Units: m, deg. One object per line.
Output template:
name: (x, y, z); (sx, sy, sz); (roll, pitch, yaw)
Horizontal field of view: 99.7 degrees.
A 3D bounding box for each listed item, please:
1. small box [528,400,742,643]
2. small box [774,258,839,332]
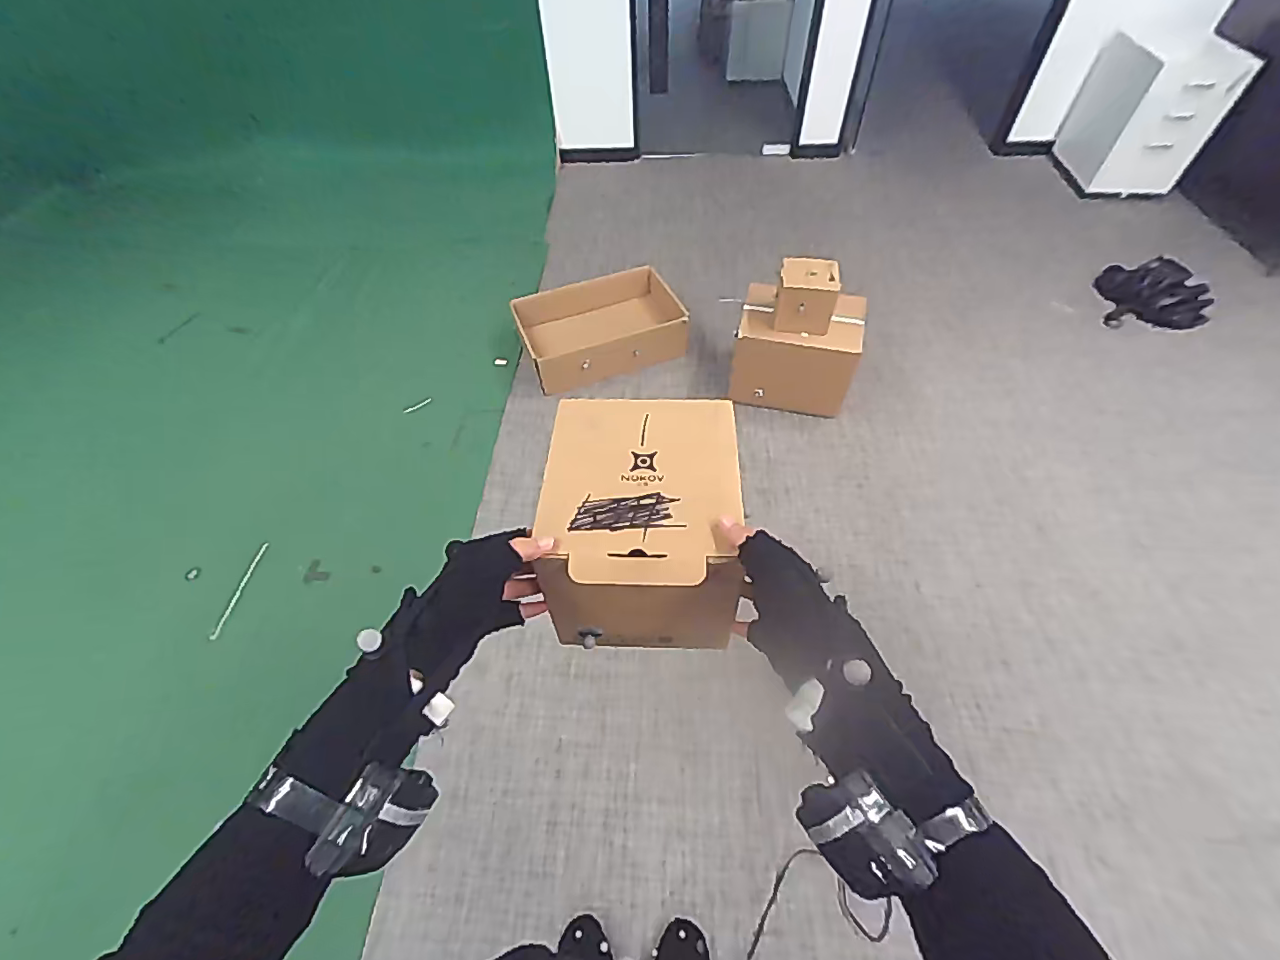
small box: (0.003, 0.043, 0.517); (0.168, 0.176, 0.179); (1, 50, 3)
small box: (0.535, -0.600, 1.760); (0.179, 0.176, 0.168); (6, 54, 7)
